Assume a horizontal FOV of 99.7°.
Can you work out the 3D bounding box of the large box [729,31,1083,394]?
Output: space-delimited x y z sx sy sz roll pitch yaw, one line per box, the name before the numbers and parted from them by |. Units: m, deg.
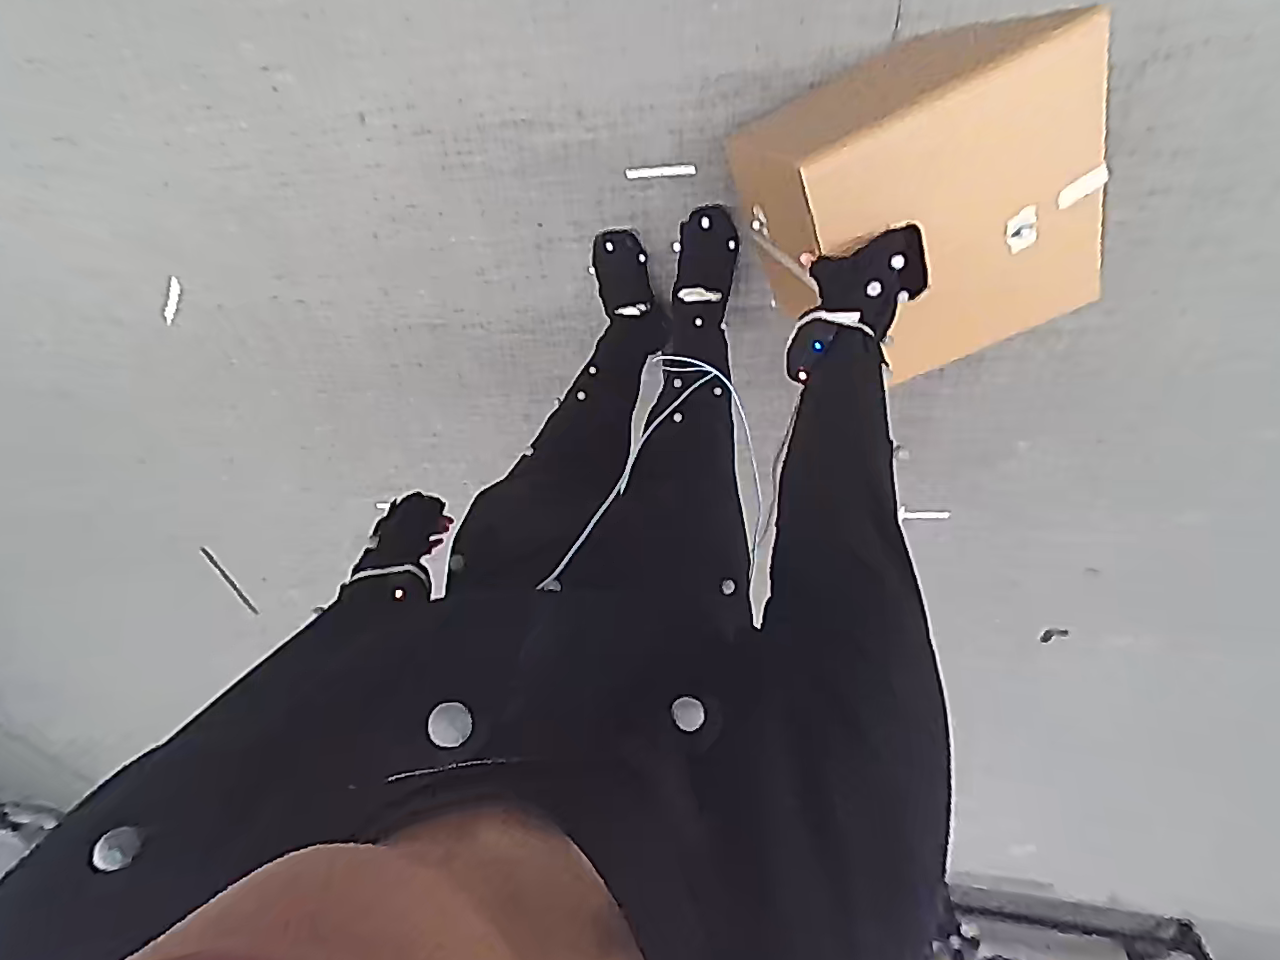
large box | 0.360 -0.395 0.805 0.320 0.408 0.320 -21 124 12
